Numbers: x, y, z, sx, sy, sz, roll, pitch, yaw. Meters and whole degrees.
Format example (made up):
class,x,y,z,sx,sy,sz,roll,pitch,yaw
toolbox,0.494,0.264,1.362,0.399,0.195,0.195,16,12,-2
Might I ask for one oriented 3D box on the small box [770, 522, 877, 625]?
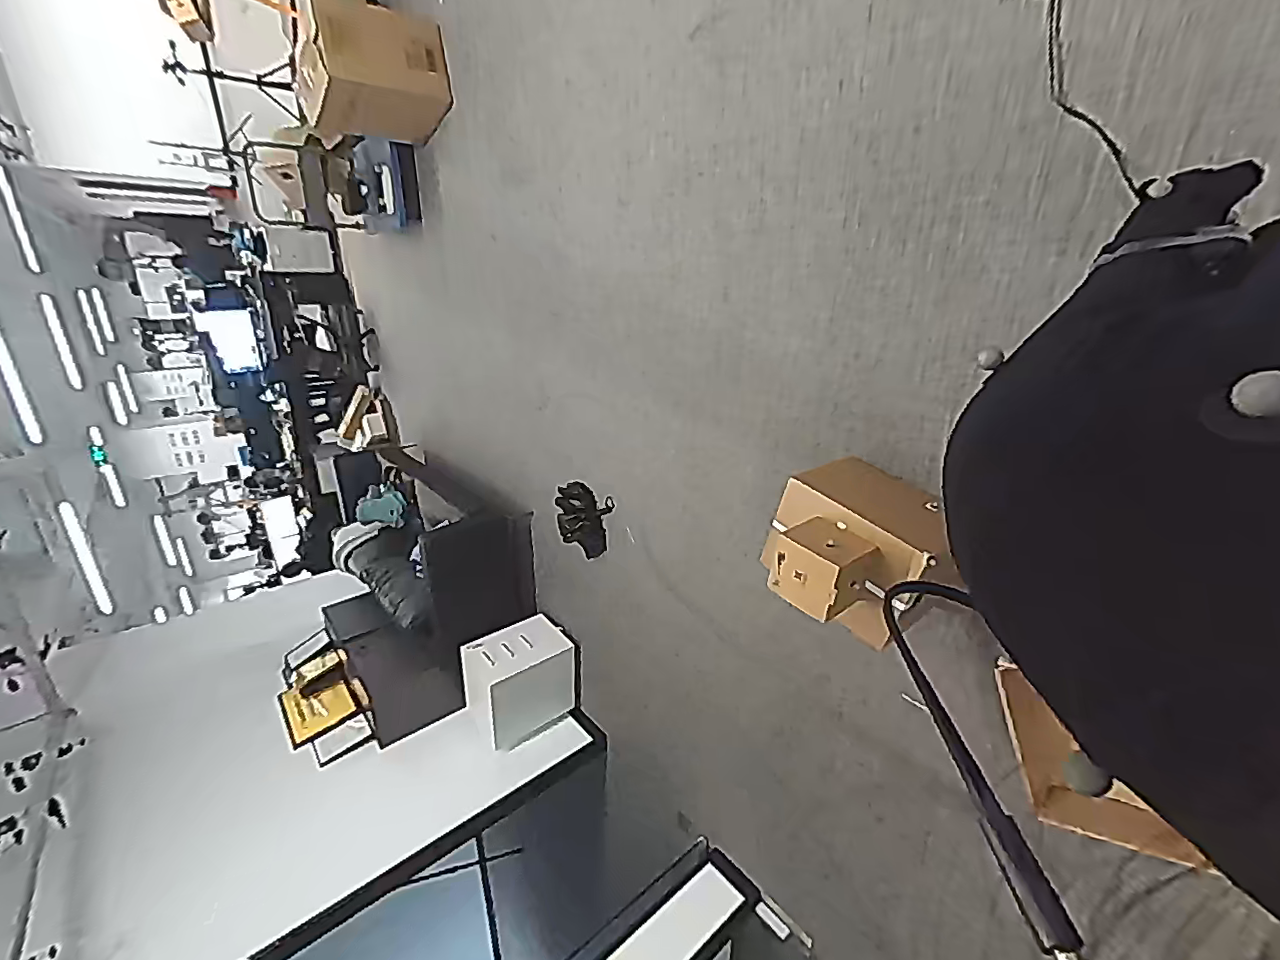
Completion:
class,x,y,z,sx,sy,sz,roll,pitch,yaw
small box,0.459,0.223,1.351,0.179,0.176,0.168,31,125,42
